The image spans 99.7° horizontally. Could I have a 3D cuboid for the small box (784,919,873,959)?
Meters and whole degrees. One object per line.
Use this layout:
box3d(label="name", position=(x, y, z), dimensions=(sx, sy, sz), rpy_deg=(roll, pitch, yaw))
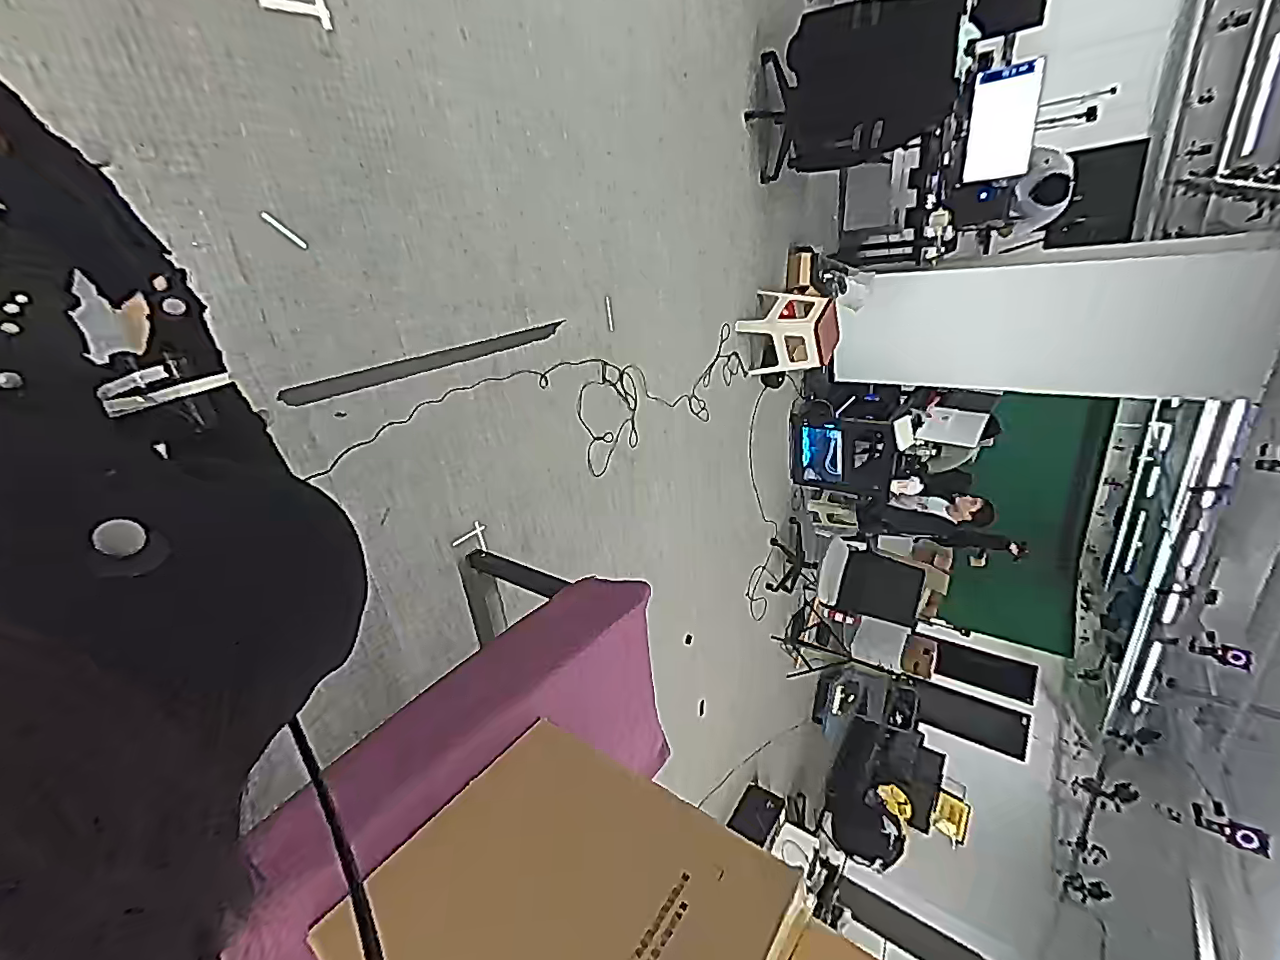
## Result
box3d(label="small box", position=(0.290, 0.847, 0.828), dimensions=(0.179, 0.176, 0.168), rpy_deg=(-22, 116, -50))
